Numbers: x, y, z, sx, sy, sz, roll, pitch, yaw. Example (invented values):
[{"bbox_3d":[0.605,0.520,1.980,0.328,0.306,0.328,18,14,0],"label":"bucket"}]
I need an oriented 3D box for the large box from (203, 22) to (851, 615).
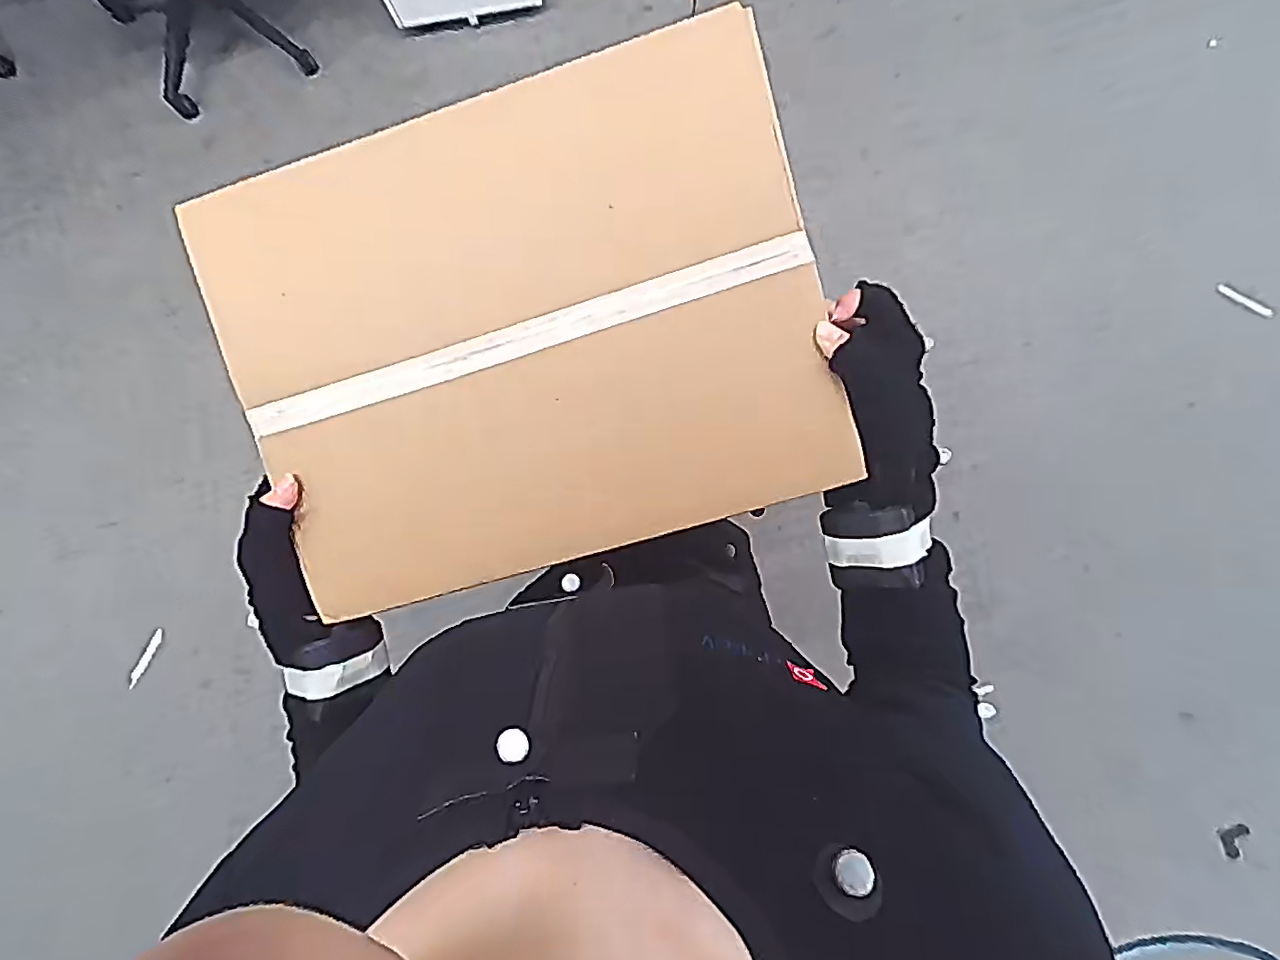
[{"bbox_3d":[-0.072,-0.115,0.529,0.408,0.320,0.320,-16,95,6],"label":"large box"}]
